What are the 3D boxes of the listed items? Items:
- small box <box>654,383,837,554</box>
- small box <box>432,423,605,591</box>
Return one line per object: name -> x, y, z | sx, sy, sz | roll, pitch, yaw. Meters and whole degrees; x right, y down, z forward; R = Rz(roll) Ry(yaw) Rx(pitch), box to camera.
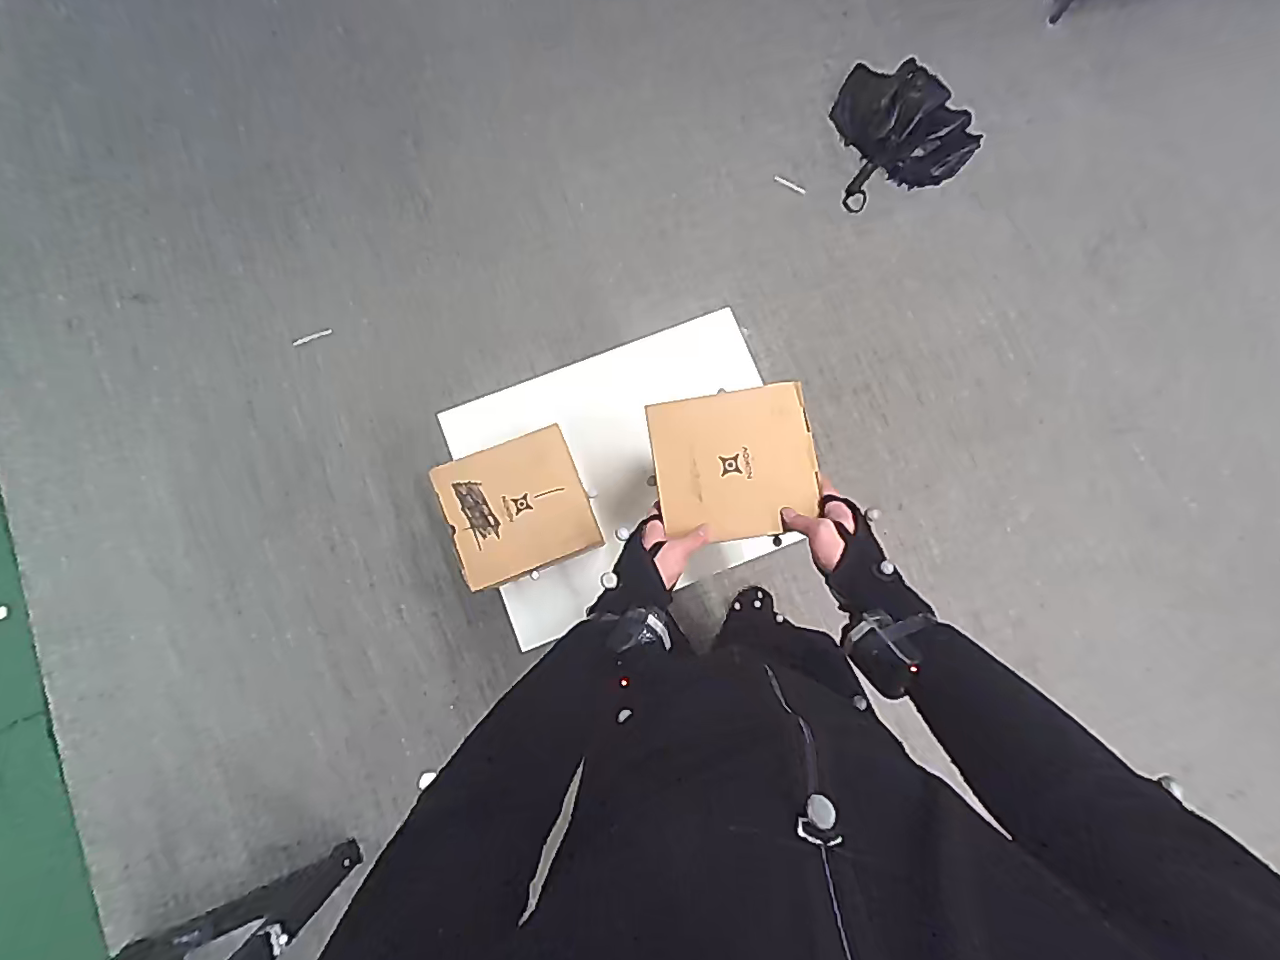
small box -> 0.117, -0.005, 0.661 | 0.179, 0.176, 0.168 | -10, 82, 4
small box -> -0.153, 0.043, 0.743 | 0.179, 0.176, 0.168 | -21, 84, -7
